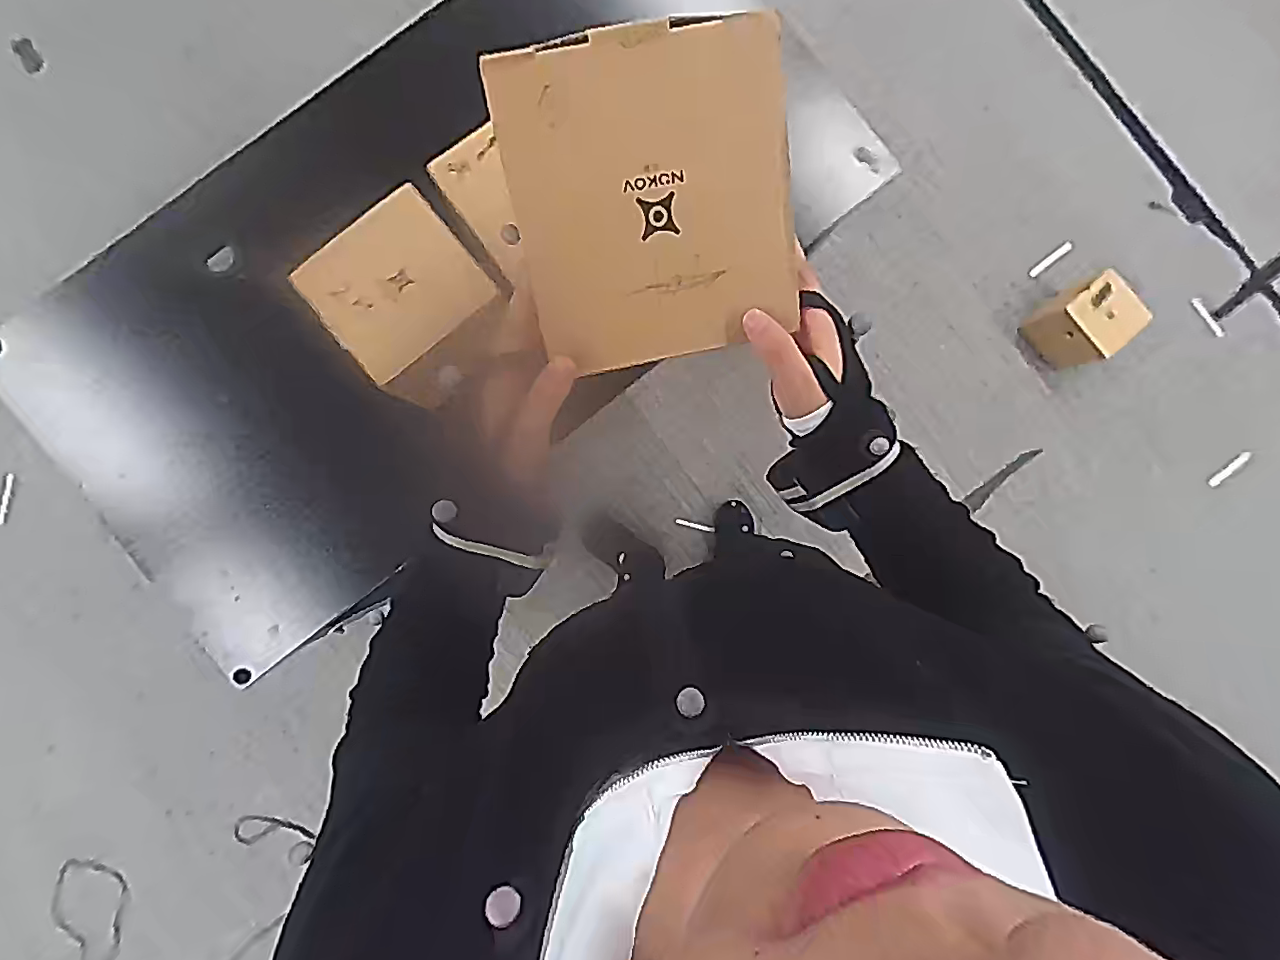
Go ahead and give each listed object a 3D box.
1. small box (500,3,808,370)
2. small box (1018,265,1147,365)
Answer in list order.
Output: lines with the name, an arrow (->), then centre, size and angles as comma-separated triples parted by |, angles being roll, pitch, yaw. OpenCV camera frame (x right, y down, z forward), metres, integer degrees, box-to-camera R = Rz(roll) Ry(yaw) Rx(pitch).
small box -> 0.007, -0.191, 0.392 | 0.168, 0.176, 0.179 | -11, 112, -2
small box -> 1.191, -0.437, 1.470 | 0.168, 0.176, 0.179 | -41, 91, -2
